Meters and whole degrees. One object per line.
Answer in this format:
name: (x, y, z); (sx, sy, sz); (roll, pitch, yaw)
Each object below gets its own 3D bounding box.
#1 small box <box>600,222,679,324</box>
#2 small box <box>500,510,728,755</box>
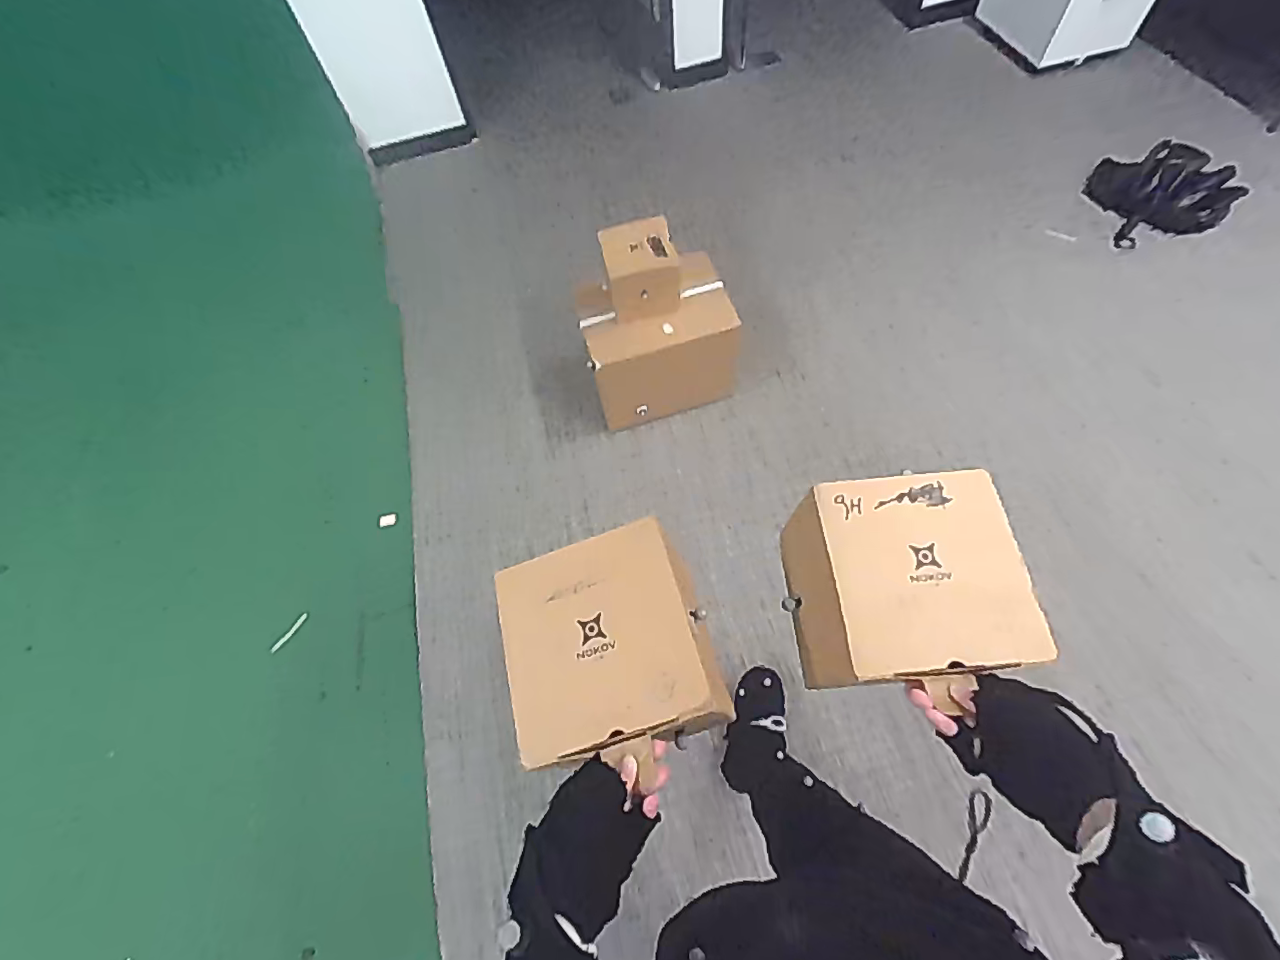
small box: (0.001, -0.532, 1.401); (0.179, 0.176, 0.168); (-10, 65, 0)
small box: (-0.019, 0.161, 0.546); (0.168, 0.176, 0.179); (-20, 59, 4)
